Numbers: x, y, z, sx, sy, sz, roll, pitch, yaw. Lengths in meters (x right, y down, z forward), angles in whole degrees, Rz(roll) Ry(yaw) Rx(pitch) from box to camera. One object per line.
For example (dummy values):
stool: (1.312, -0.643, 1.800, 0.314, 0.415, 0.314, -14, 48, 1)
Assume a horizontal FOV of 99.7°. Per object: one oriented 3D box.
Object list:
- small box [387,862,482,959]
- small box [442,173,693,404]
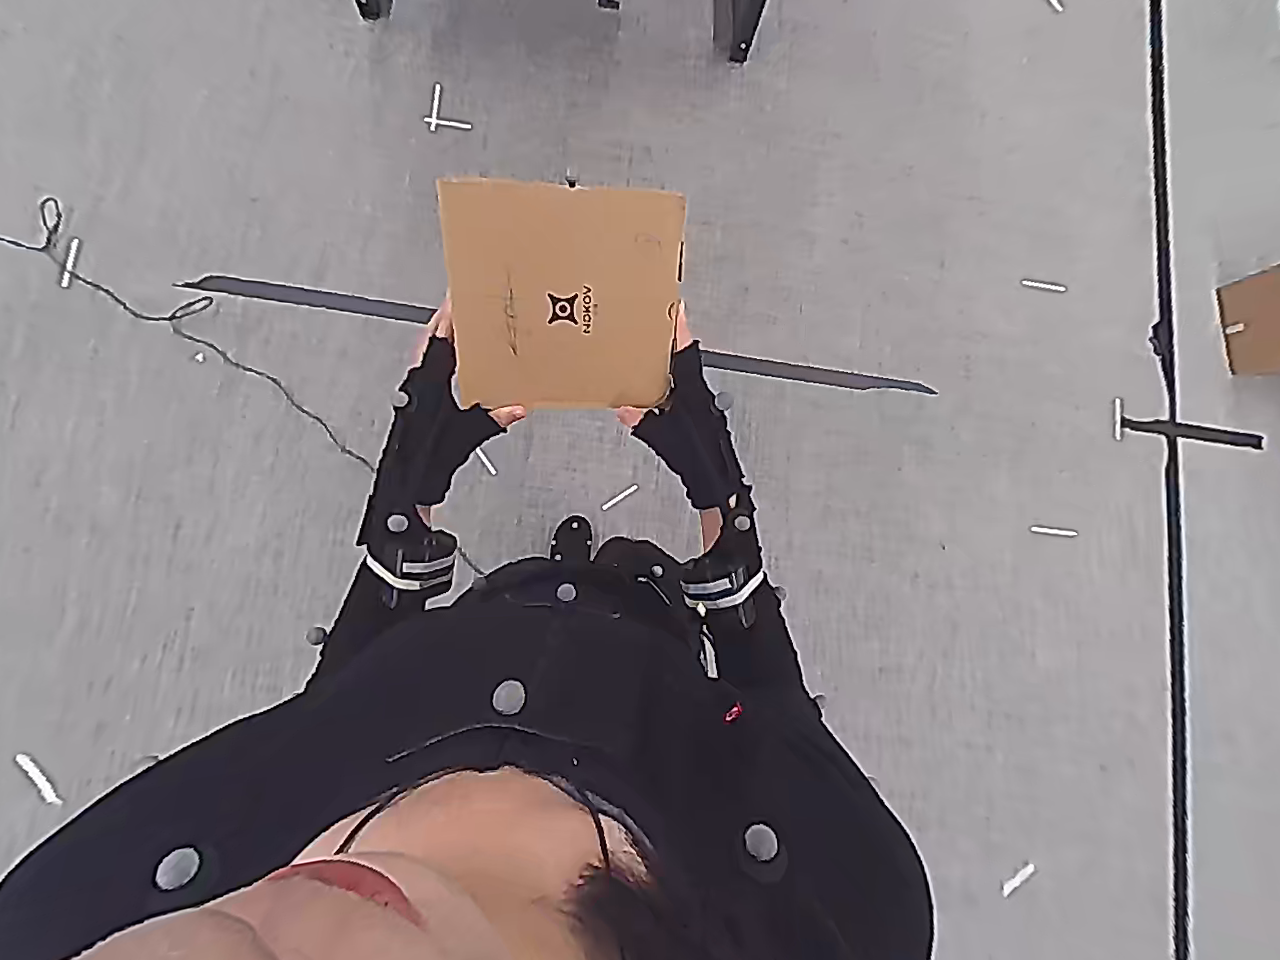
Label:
small box: (-0.471, 1.026, 1.256, 0.168, 0.176, 0.179, 9, 81, -6)
small box: (-0.063, -0.173, 0.479, 0.179, 0.176, 0.168, -2, 117, -8)
